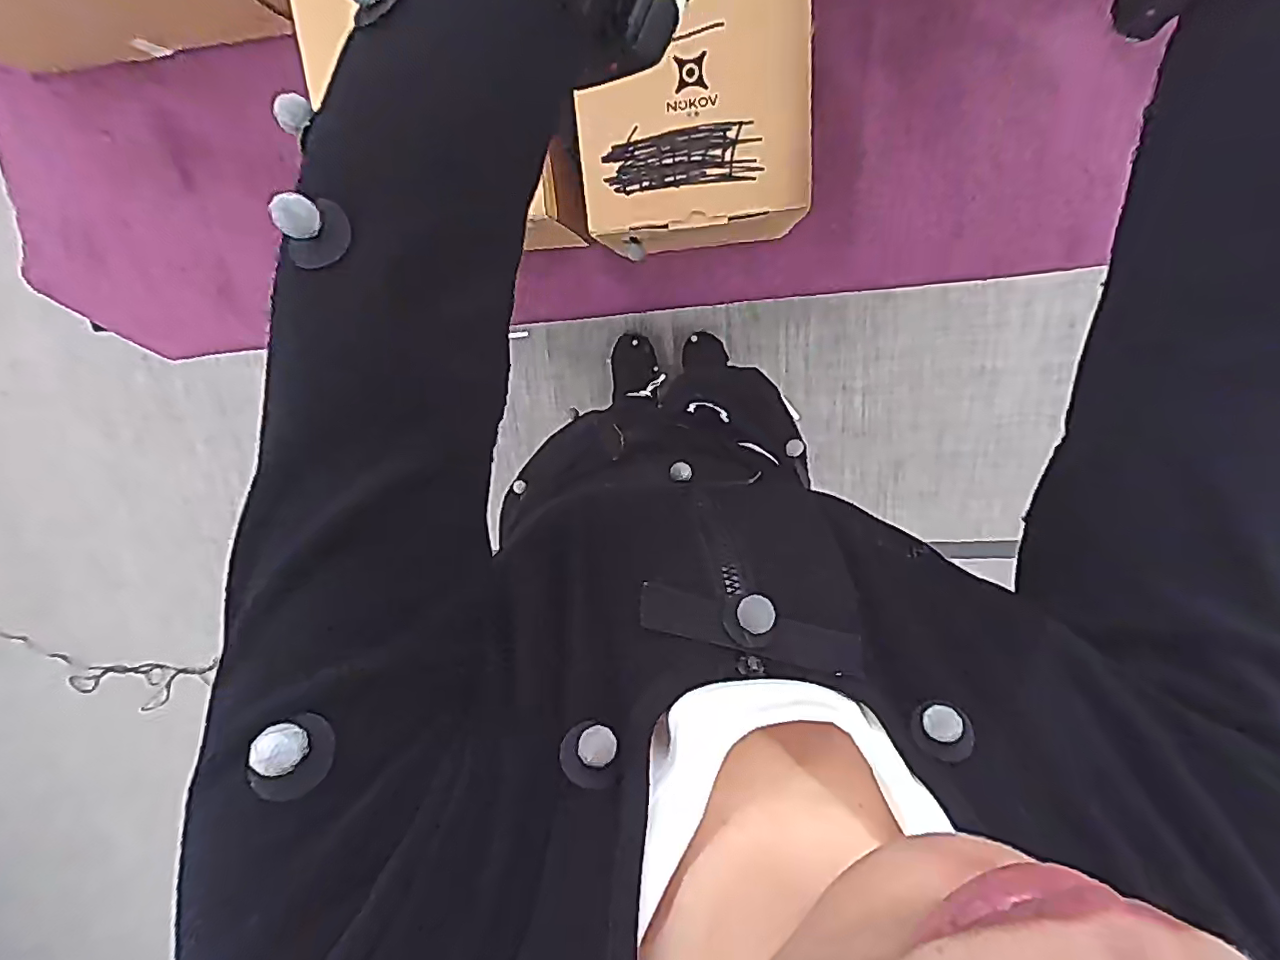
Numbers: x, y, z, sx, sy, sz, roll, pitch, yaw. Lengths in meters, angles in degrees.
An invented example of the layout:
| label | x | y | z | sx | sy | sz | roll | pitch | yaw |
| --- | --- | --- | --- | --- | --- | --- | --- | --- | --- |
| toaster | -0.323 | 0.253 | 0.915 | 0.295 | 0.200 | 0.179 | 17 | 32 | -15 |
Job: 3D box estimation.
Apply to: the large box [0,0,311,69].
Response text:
| label | x | y | z | sx | sy | sz | roll | pitch | yaw |
| --- | --- | --- | --- | --- | --- | --- | --- | --- | --- |
| large box | -0.502 | -0.575 | 0.346 | 0.320 | 0.320 | 0.408 | -5 | 110 | 6 |
